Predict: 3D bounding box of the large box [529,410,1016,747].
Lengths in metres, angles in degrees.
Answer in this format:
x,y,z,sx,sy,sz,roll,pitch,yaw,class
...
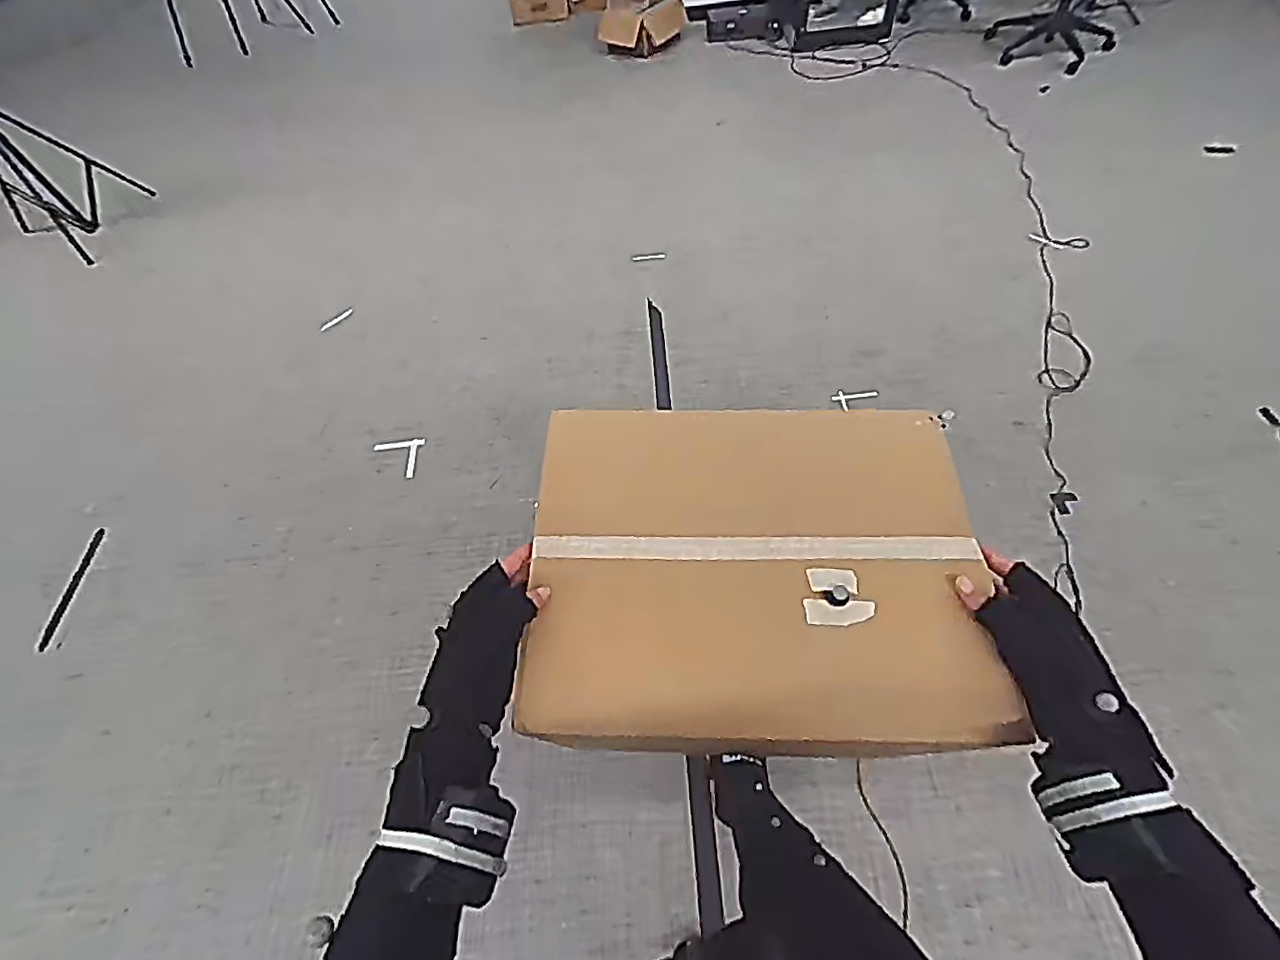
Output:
x,y,z,sx,sy,sz,roll,pitch,yaw,class
0.107,0.133,0.637,0.408,0.320,0.320,0,62,1,large box
